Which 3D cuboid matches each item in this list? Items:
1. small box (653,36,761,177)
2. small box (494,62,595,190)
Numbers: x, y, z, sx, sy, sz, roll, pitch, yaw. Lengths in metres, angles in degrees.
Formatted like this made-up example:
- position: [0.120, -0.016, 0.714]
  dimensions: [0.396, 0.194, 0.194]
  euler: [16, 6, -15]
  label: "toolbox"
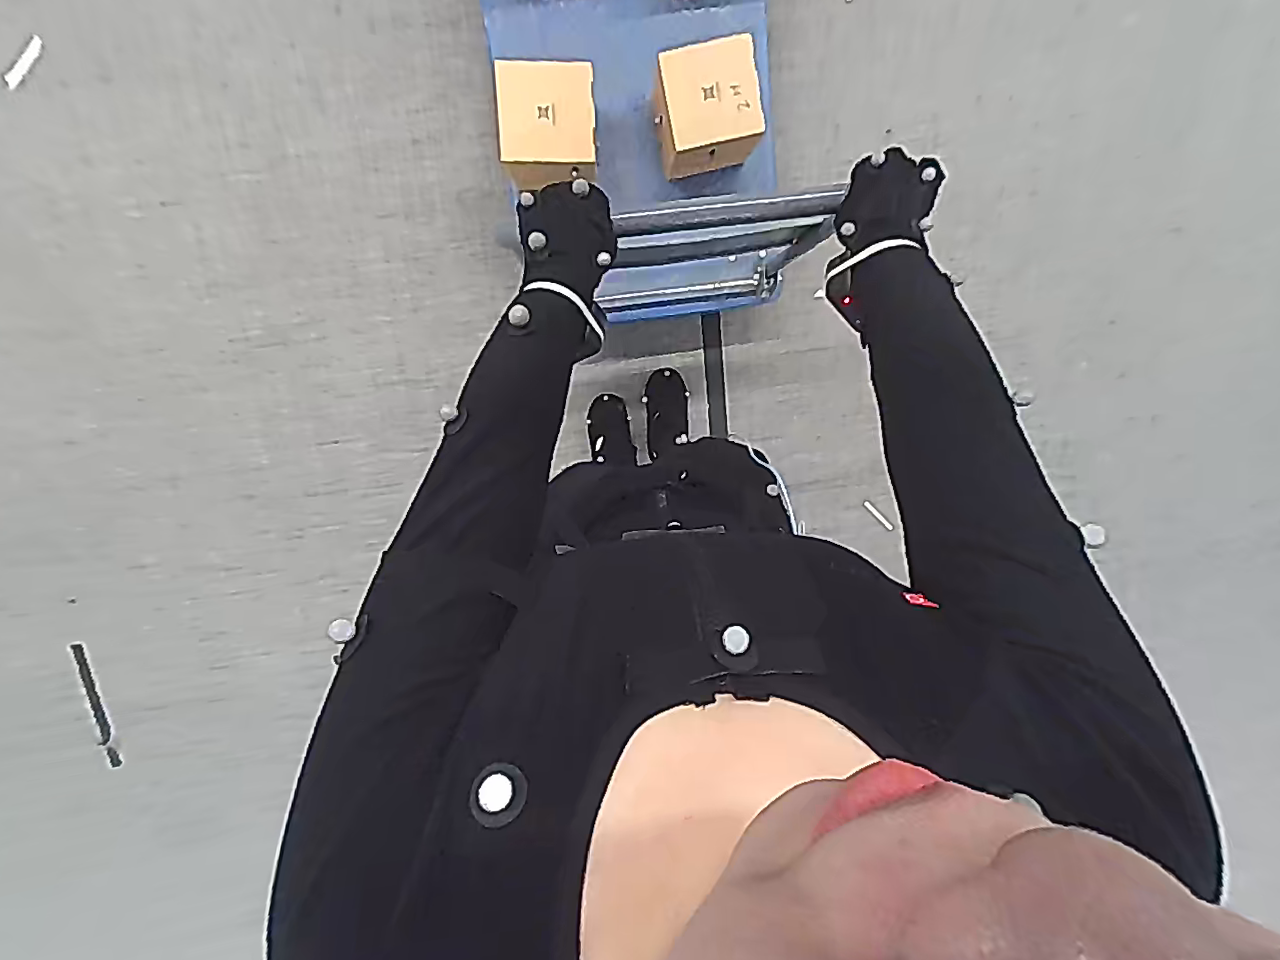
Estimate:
- position: [0.124, -0.726, 1.073]
  dimensions: [0.179, 0.176, 0.168]
  euler: [-13, 104, -1]
  label: "small box"
- position: [-0.179, -0.684, 1.064]
  dimensions: [0.179, 0.176, 0.168]
  euler: [-2, 102, -5]
  label: "small box"
